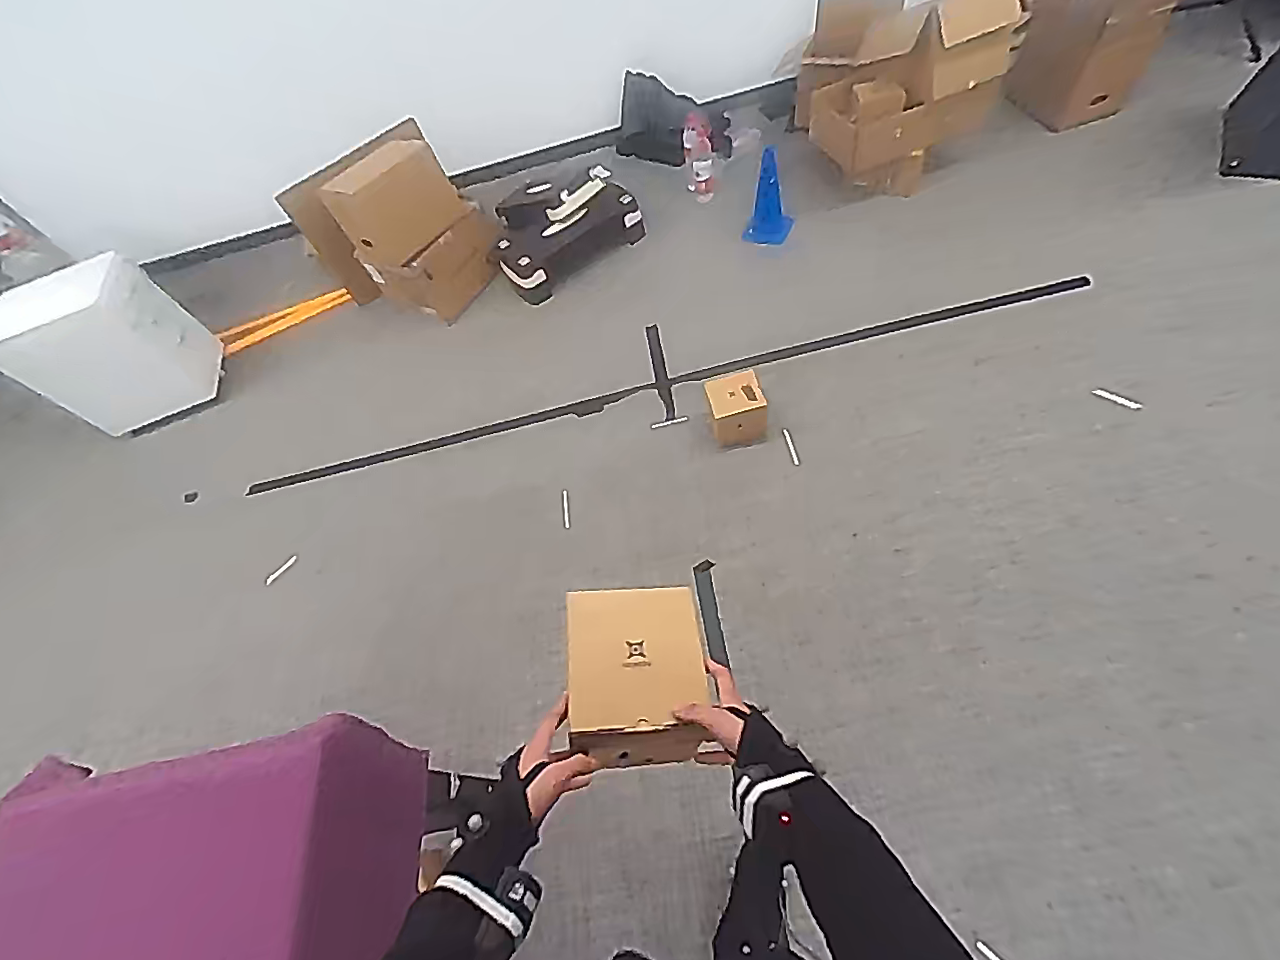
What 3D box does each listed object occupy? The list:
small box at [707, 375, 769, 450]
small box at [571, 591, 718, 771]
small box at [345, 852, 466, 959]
[{"bbox_3d":[0.337,-0.228,1.863,0.179,0.176,0.168,-15,56,4],"label":"small box"},{"bbox_3d":[-0.007,0.264,0.713,0.168,0.176,0.179,0,50,-8],"label":"small box"},{"bbox_3d":[-0.550,1.023,1.281,0.179,0.176,0.168,-37,58,-10],"label":"small box"}]
